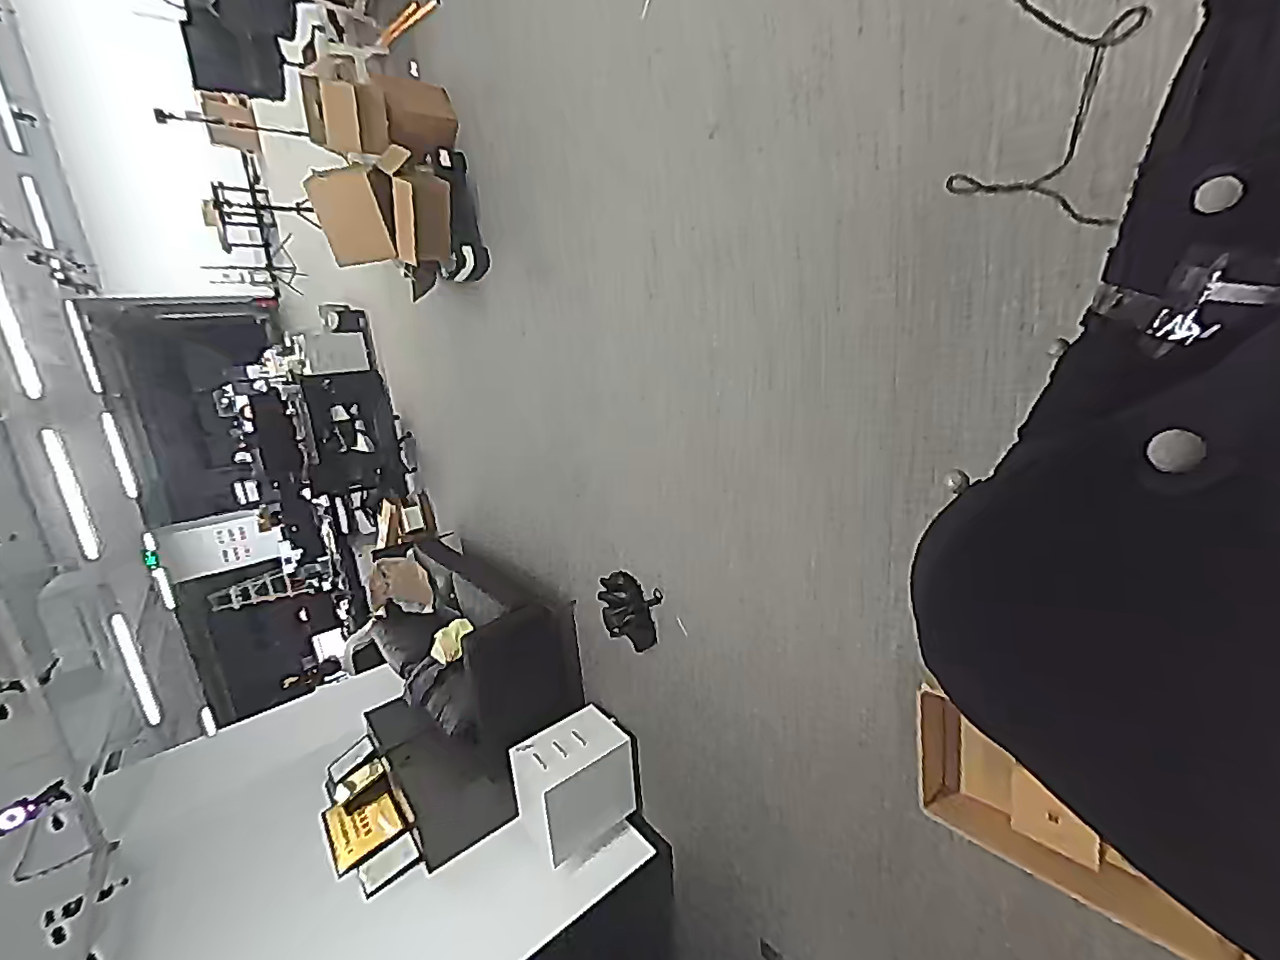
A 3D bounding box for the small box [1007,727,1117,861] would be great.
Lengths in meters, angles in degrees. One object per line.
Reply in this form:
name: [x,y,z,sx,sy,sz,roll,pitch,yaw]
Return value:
small box: [0.978,0.713,1.256,0.168,0.176,0.179,8,111,53]
